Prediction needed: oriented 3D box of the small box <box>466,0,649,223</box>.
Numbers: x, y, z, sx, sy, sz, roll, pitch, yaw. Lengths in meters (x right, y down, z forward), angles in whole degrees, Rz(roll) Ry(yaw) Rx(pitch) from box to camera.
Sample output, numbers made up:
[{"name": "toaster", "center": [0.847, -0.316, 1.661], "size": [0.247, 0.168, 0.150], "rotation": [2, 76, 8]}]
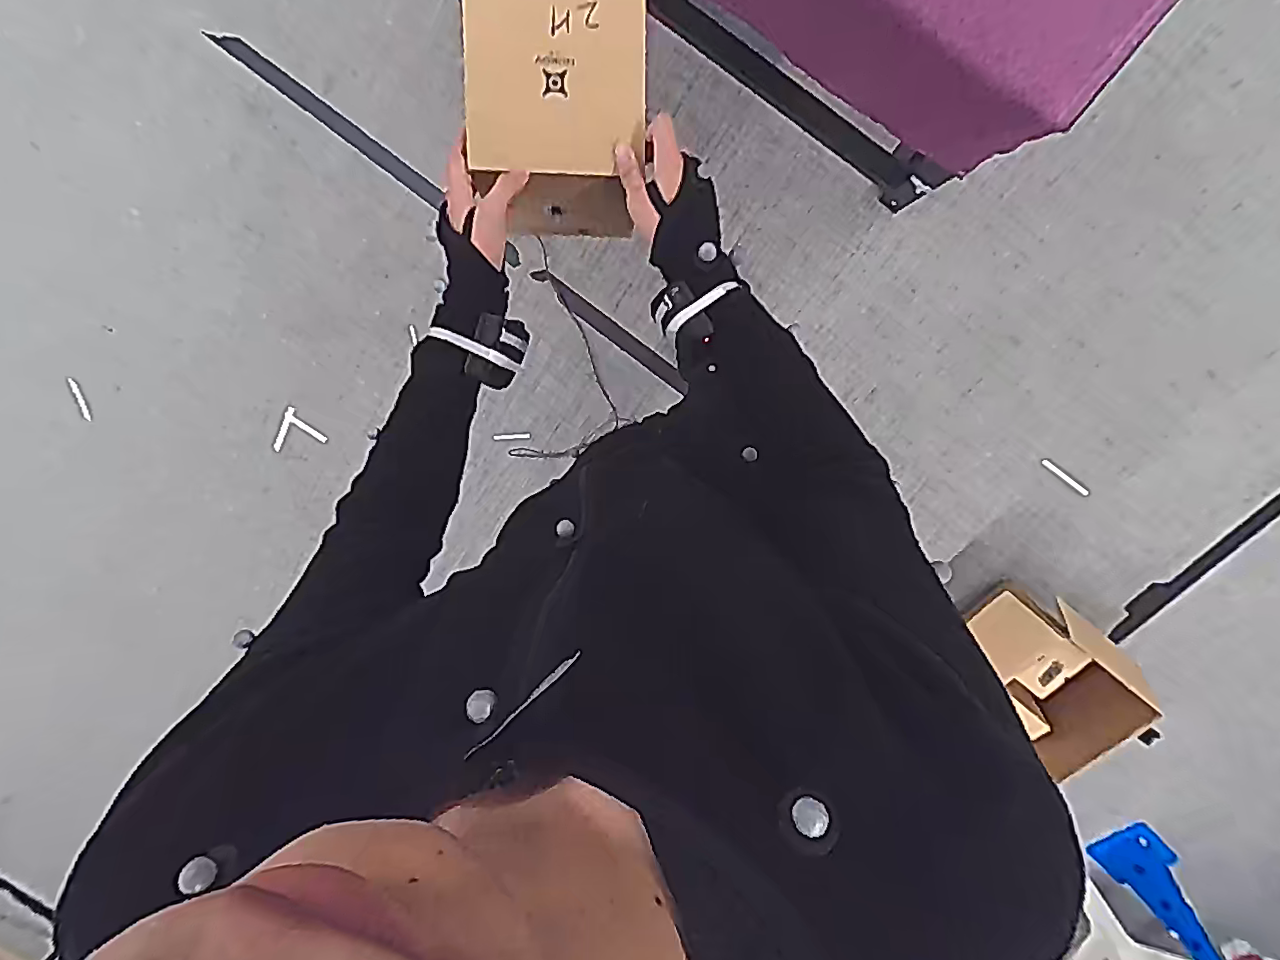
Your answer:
[{"name": "small box", "center": [-0.081, -0.389, 0.570], "size": [0.168, 0.176, 0.179], "rotation": [0, 96, -6]}]
